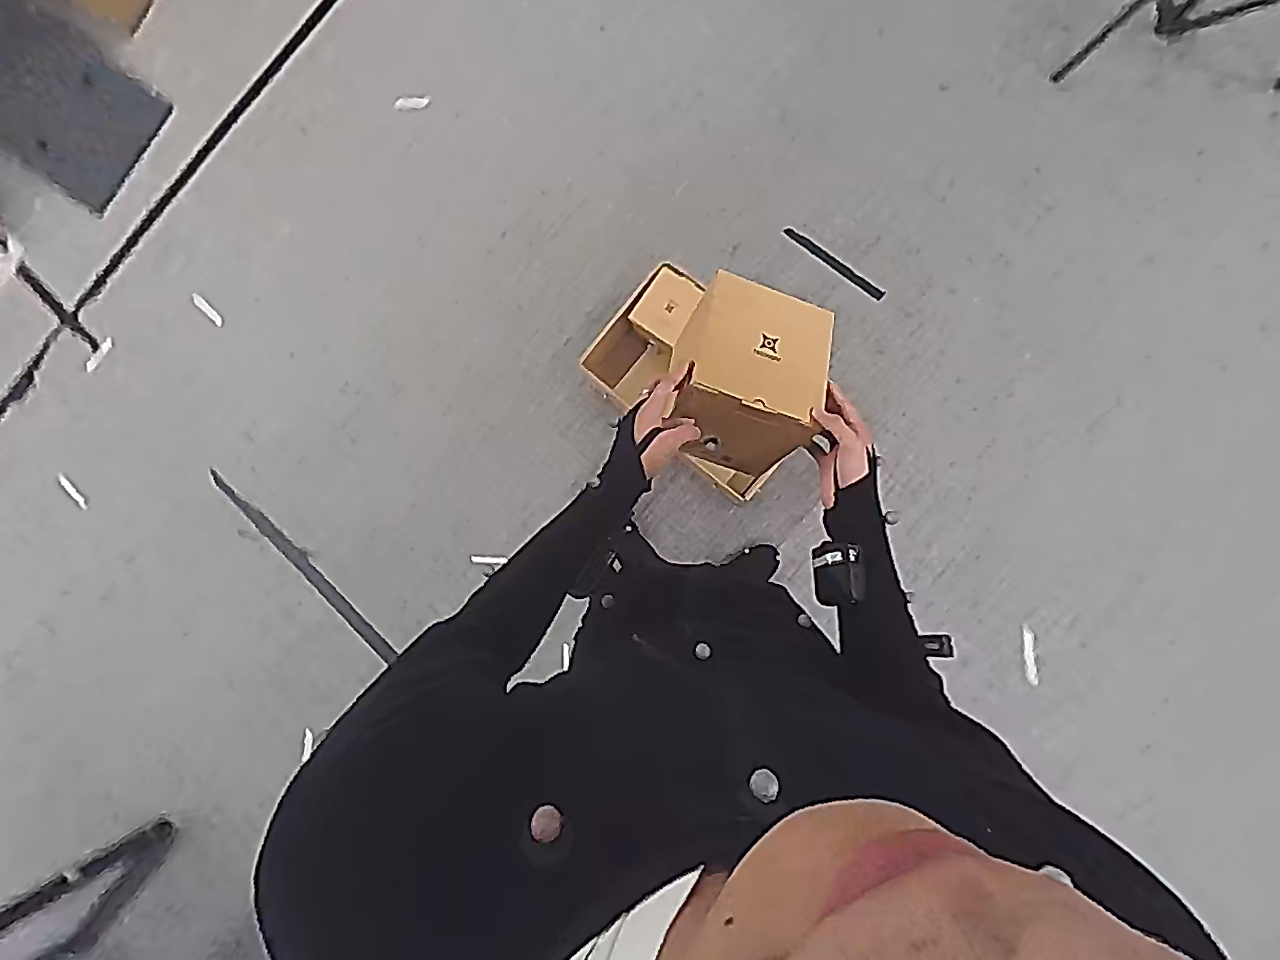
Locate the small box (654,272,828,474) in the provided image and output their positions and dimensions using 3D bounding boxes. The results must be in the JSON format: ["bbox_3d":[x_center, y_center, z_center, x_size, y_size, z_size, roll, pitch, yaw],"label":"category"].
[{"bbox_3d":[0.128,-0.131,0.719,0.168,0.176,0.179,16,67,-9],"label":"small box"}]
